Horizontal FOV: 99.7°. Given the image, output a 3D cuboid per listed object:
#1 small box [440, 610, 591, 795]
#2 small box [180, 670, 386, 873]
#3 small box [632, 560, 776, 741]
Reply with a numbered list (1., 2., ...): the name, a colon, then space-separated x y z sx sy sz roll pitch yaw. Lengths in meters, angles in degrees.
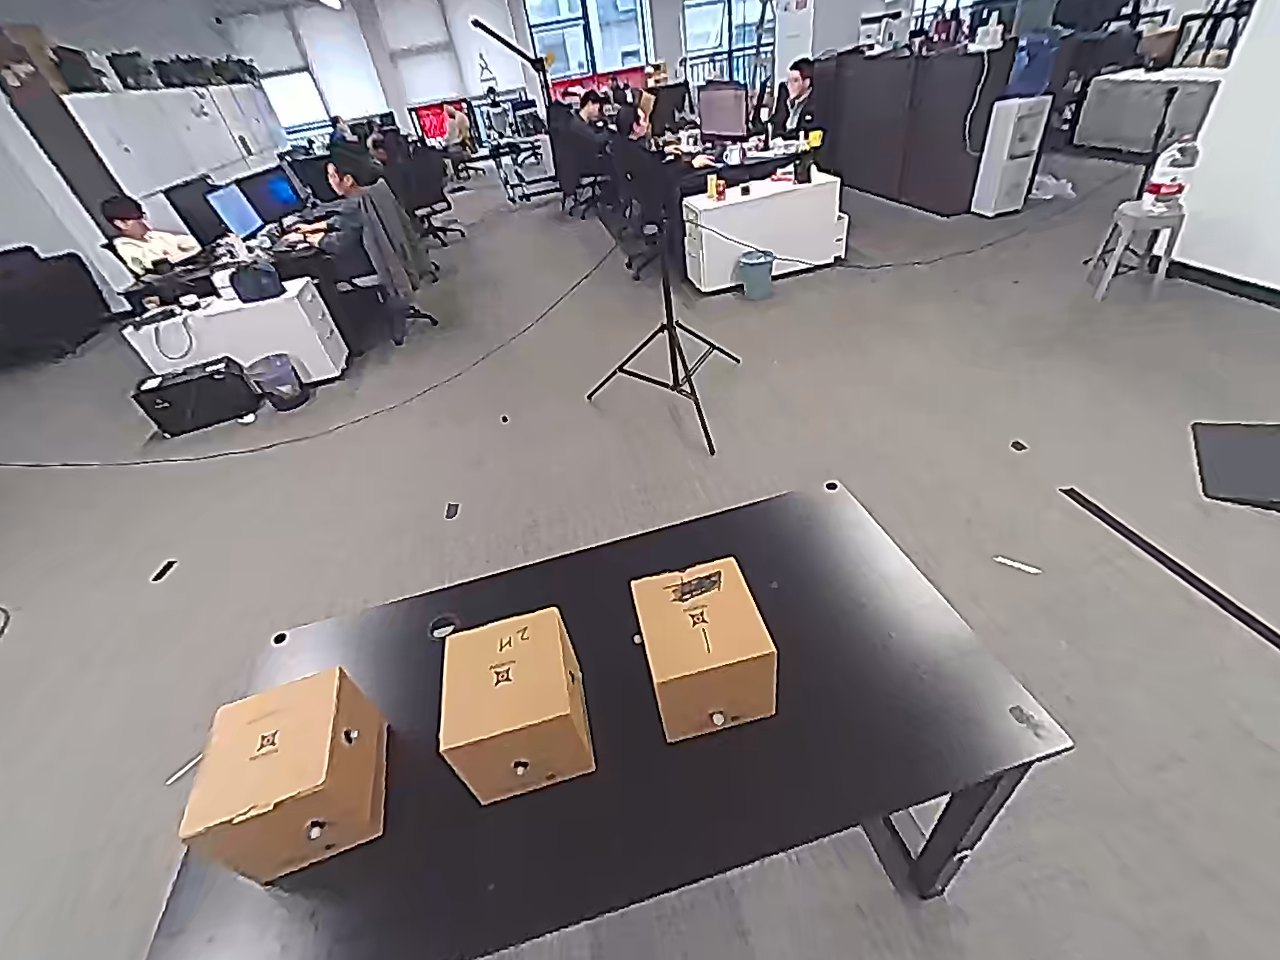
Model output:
1. small box: -0.173 0.323 0.778 0.168 0.176 0.179 -14 39 -5
2. small box: -0.468 0.405 0.746 0.168 0.176 0.179 -17 38 -11
3. small box: 0.091 0.252 0.807 0.168 0.176 0.179 -13 39 -3
